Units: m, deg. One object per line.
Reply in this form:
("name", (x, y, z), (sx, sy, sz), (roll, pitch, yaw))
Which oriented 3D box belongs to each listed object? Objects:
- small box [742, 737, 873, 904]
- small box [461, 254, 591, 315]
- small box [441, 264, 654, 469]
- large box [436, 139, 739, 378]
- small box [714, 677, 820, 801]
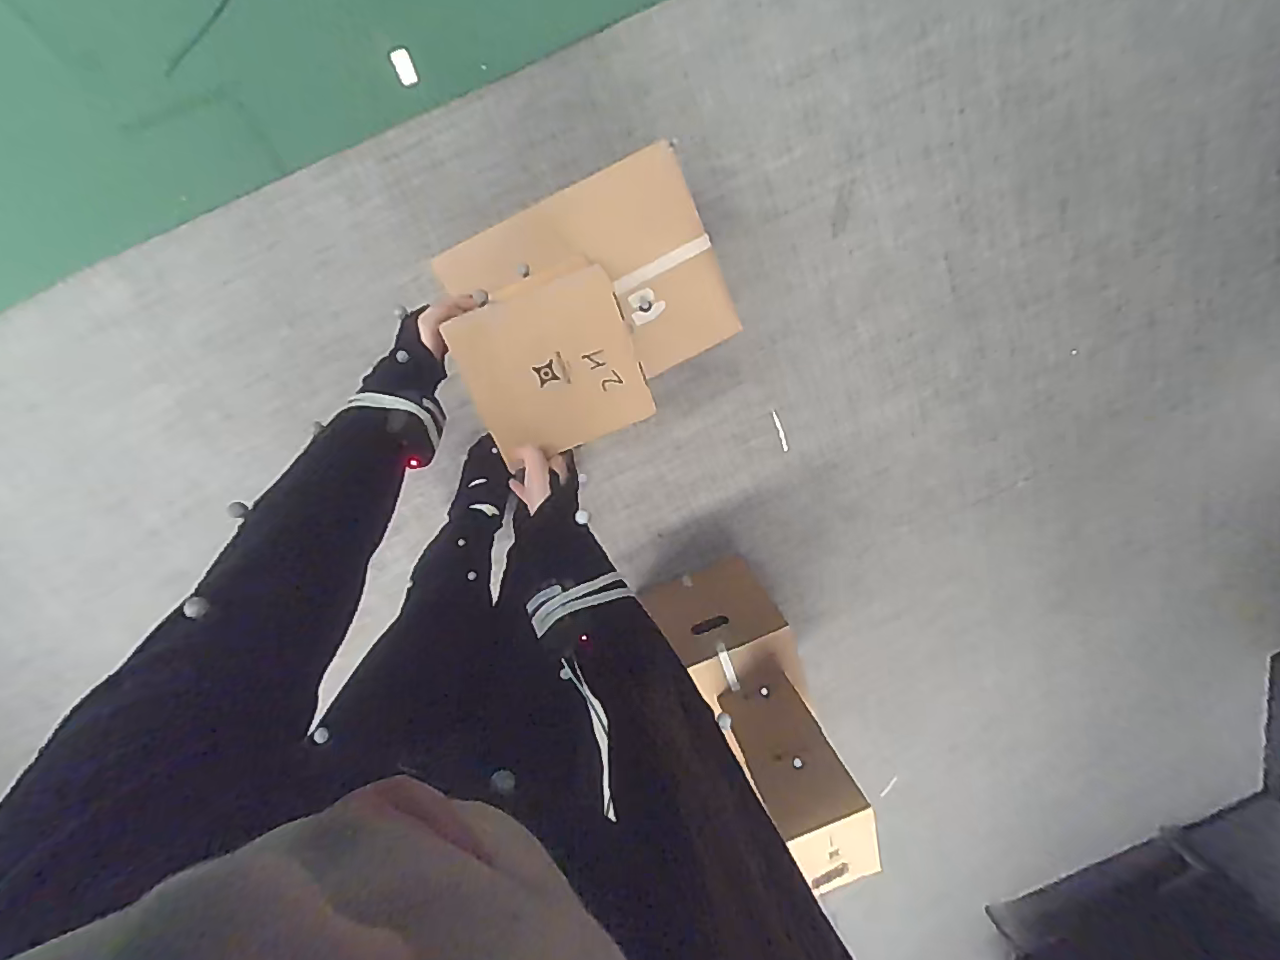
("small box", (0.303, 0.619, 0.998), (0.168, 0.176, 0.179), (-18, 112, -6))
("small box", (-0.129, -0.206, 0.778), (0.179, 0.176, 0.168), (-24, 112, -1))
("small box", (-0.101, -0.137, 0.630), (0.179, 0.176, 0.168), (-22, 113, -2))
("large box", (-0.096, -0.340, 0.997), (0.408, 0.320, 0.320), (-27, 113, 0))
("small box", (0.273, 0.559, 1.148), (0.168, 0.176, 0.179), (-19, 113, -5))
